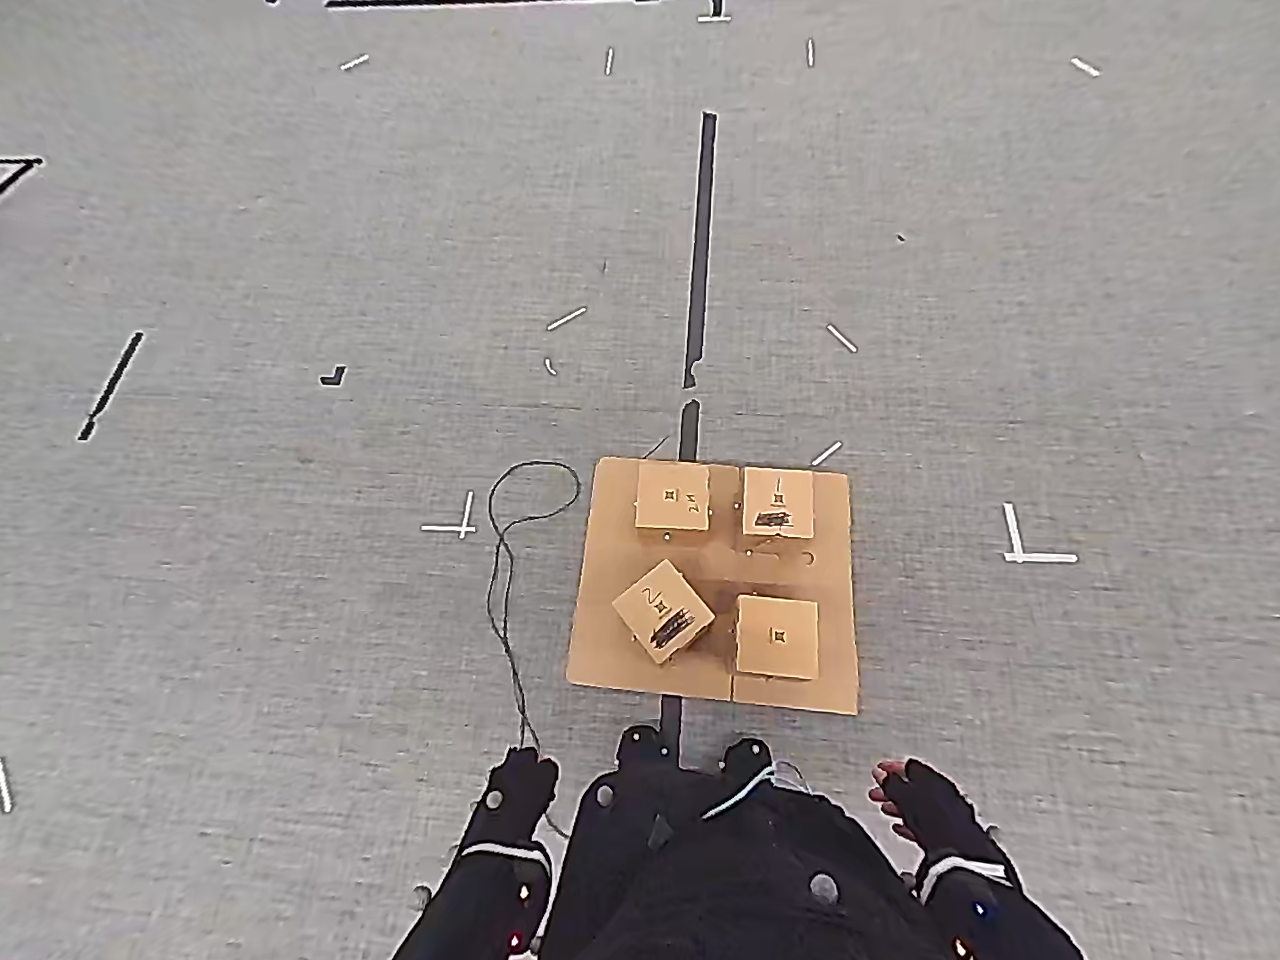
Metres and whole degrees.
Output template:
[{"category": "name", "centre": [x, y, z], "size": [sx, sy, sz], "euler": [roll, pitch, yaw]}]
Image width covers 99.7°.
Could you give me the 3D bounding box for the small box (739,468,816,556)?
[{"category": "small box", "centre": [0.343, 0.086, 1.367], "size": [0.168, 0.176, 0.179], "euler": [5, 67, 6]}]

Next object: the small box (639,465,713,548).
[{"category": "small box", "centre": [0.094, 0.072, 1.385], "size": [0.179, 0.176, 0.168], "euler": [3, 69, 4]}]

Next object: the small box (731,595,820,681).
[{"category": "small box", "centre": [0.310, 0.371, 1.255], "size": [0.179, 0.176, 0.168], "euler": [4, 69, 7]}]
